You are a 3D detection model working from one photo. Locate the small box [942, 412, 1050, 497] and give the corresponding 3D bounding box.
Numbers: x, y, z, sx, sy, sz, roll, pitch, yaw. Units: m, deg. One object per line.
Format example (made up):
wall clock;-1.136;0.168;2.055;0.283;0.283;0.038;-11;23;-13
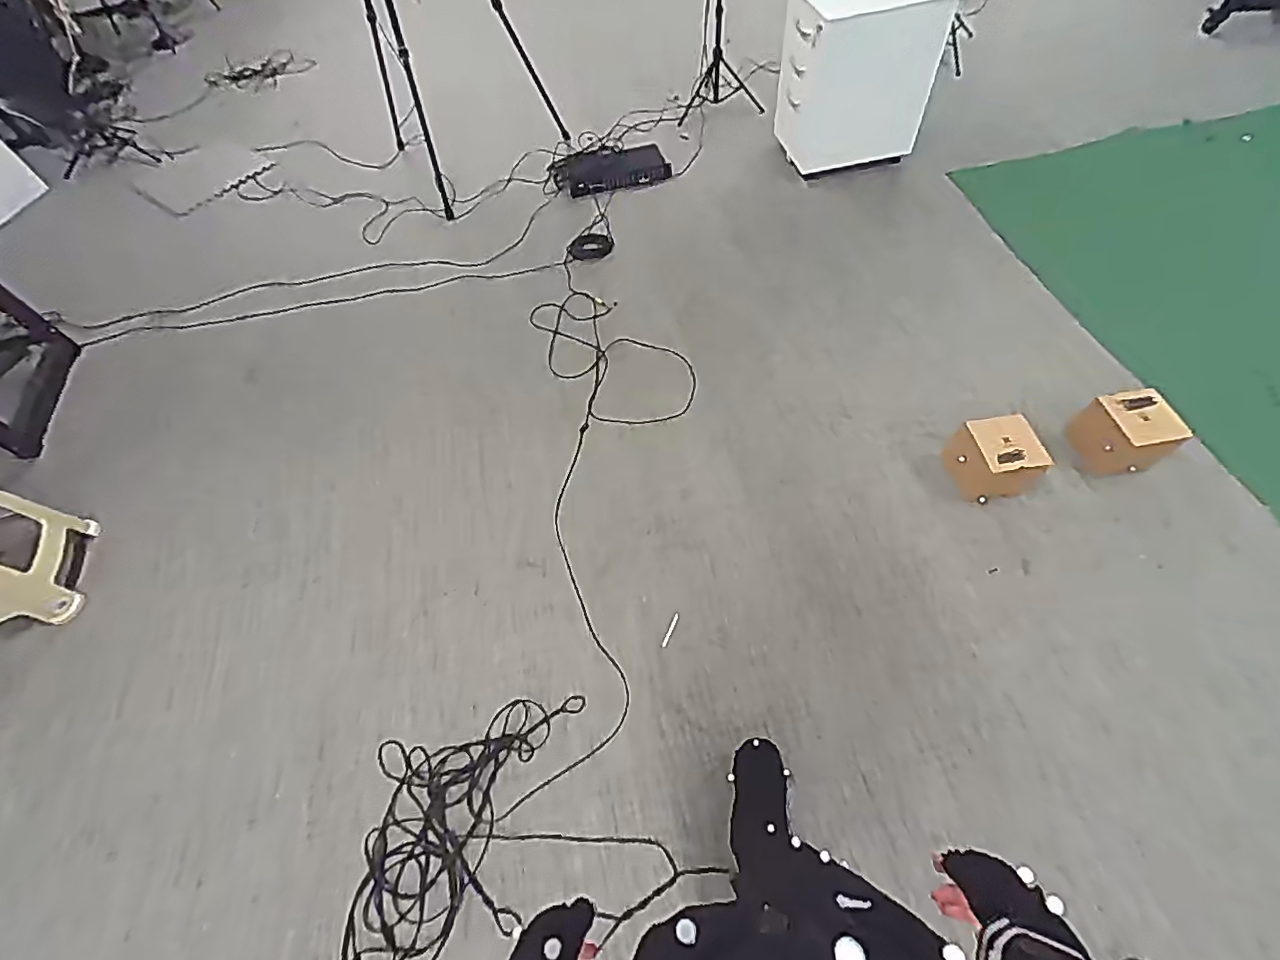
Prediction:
small box;0.996;-0.064;1.529;0.168;0.176;0.179;-8;57;0
